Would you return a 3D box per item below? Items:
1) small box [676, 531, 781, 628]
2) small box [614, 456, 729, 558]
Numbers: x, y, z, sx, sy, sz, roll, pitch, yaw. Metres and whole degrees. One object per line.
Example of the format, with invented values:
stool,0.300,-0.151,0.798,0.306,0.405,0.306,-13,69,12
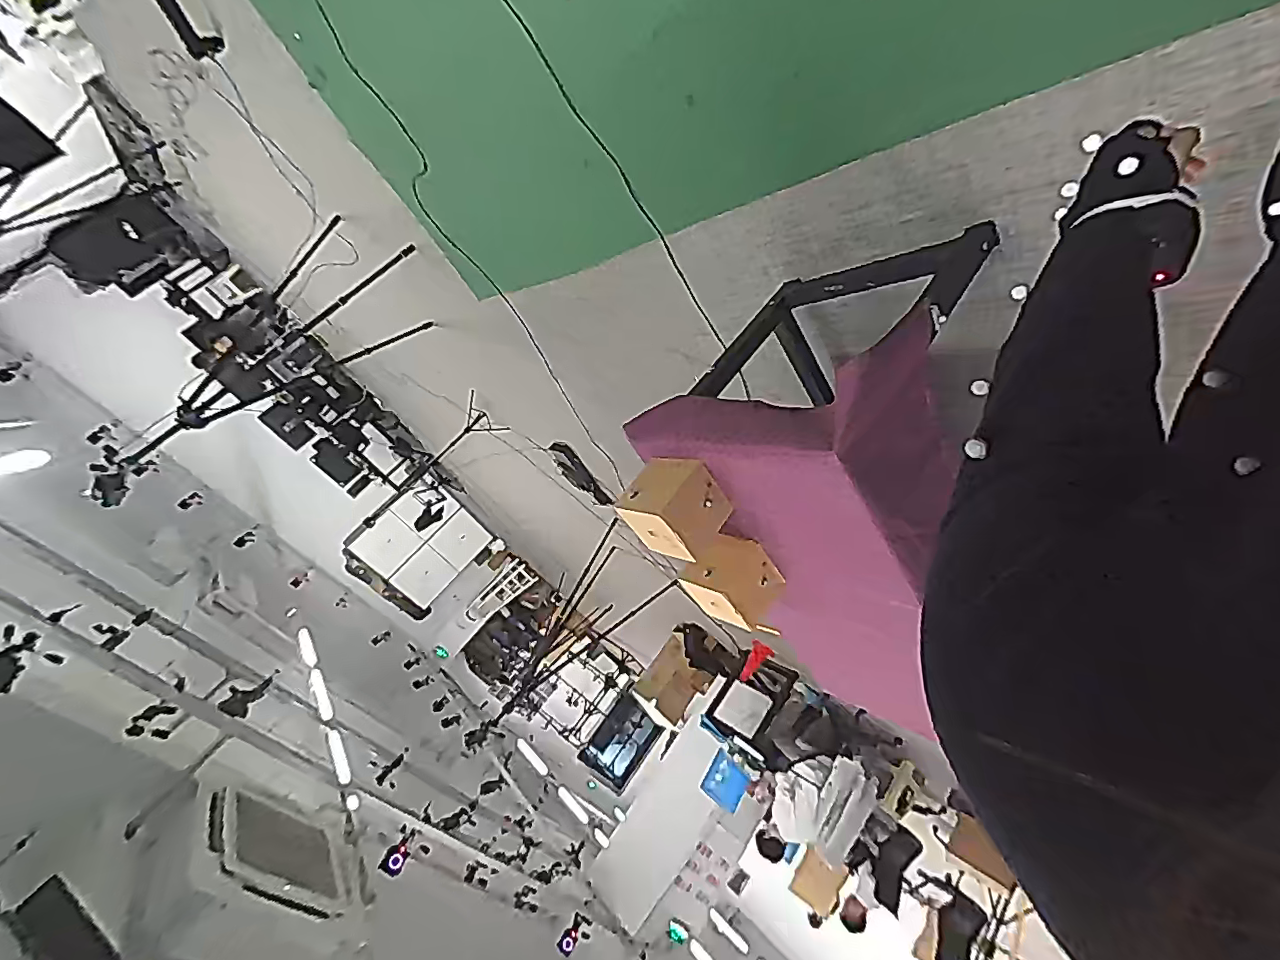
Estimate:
small box,0.235,0.253,1.424,0.179,0.176,0.168,6,141,54
small box,0.078,0.056,1.281,0.179,0.176,0.168,7,142,51
